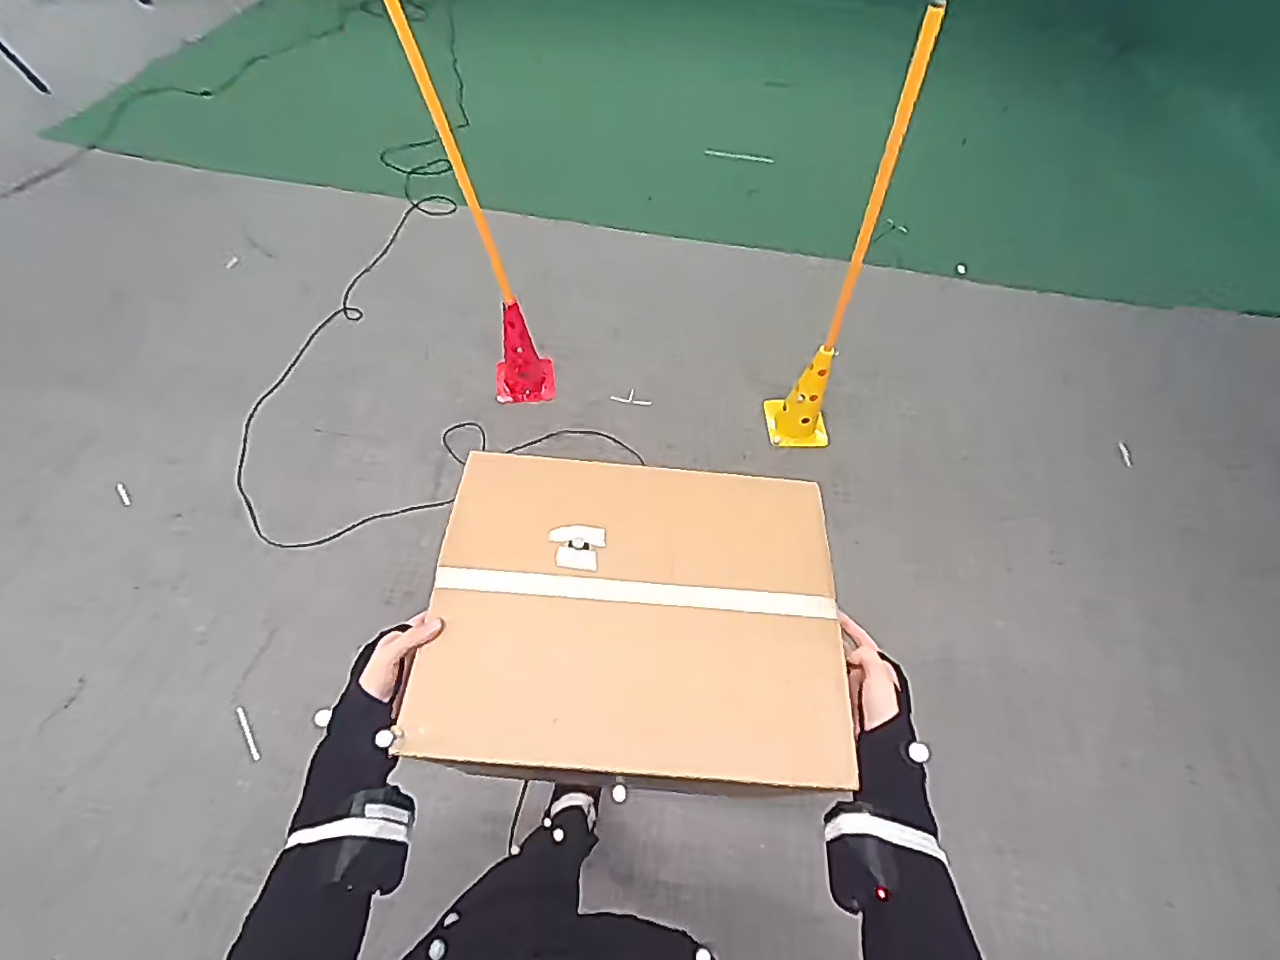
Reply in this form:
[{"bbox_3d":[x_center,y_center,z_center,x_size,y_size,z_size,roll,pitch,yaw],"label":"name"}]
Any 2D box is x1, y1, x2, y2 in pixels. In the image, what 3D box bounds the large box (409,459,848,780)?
[{"bbox_3d":[-0.007,0.194,0.687,0.408,0.320,0.320,5,58,0],"label":"large box"}]
